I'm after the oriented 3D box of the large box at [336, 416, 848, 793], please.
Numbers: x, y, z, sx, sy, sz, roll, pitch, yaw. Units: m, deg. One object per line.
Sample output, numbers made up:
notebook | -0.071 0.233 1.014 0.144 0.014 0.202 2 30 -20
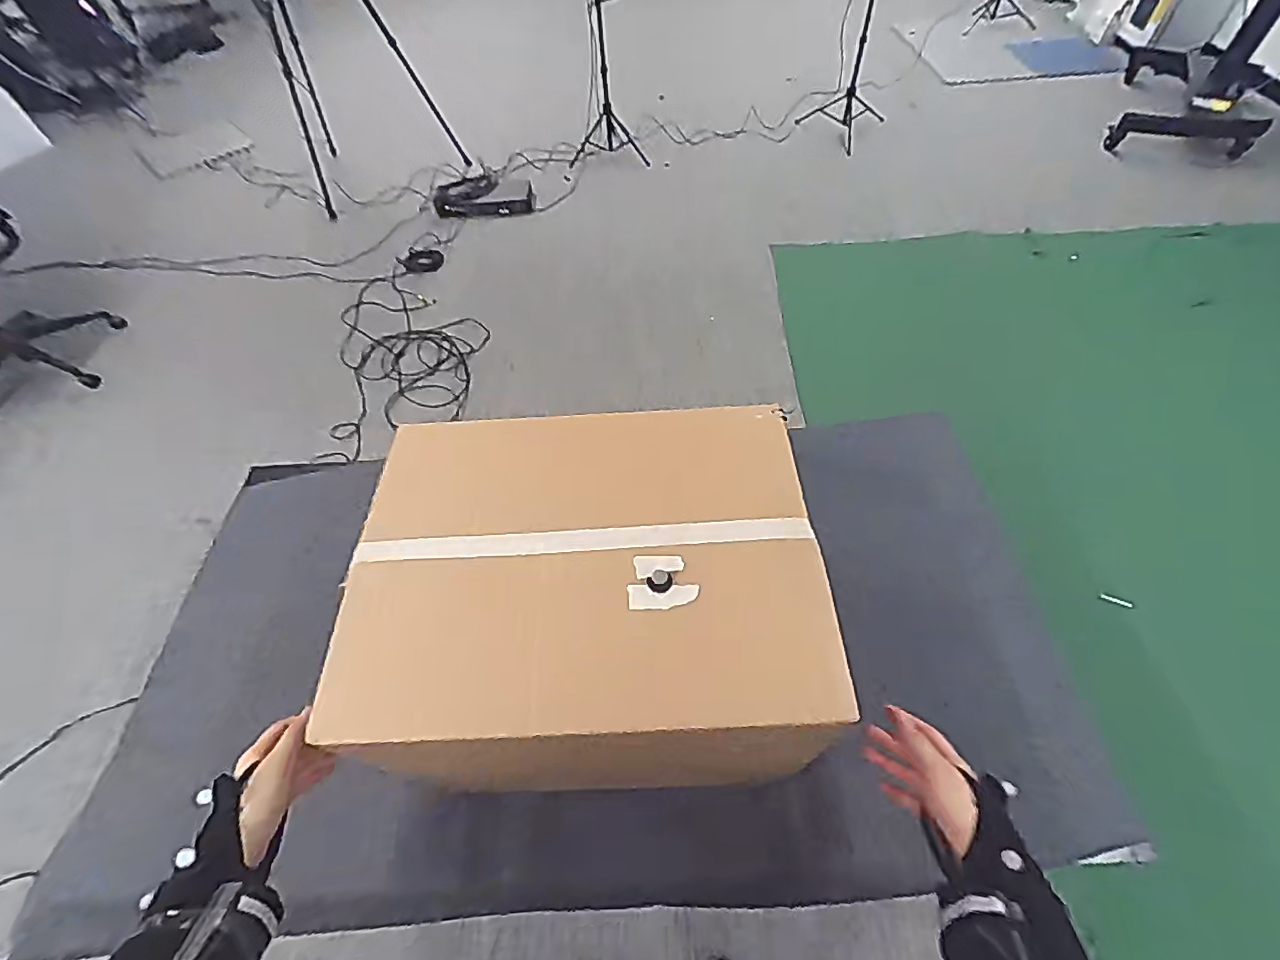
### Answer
large box | -0.039 0.153 0.618 0.408 0.320 0.320 -3 54 1
